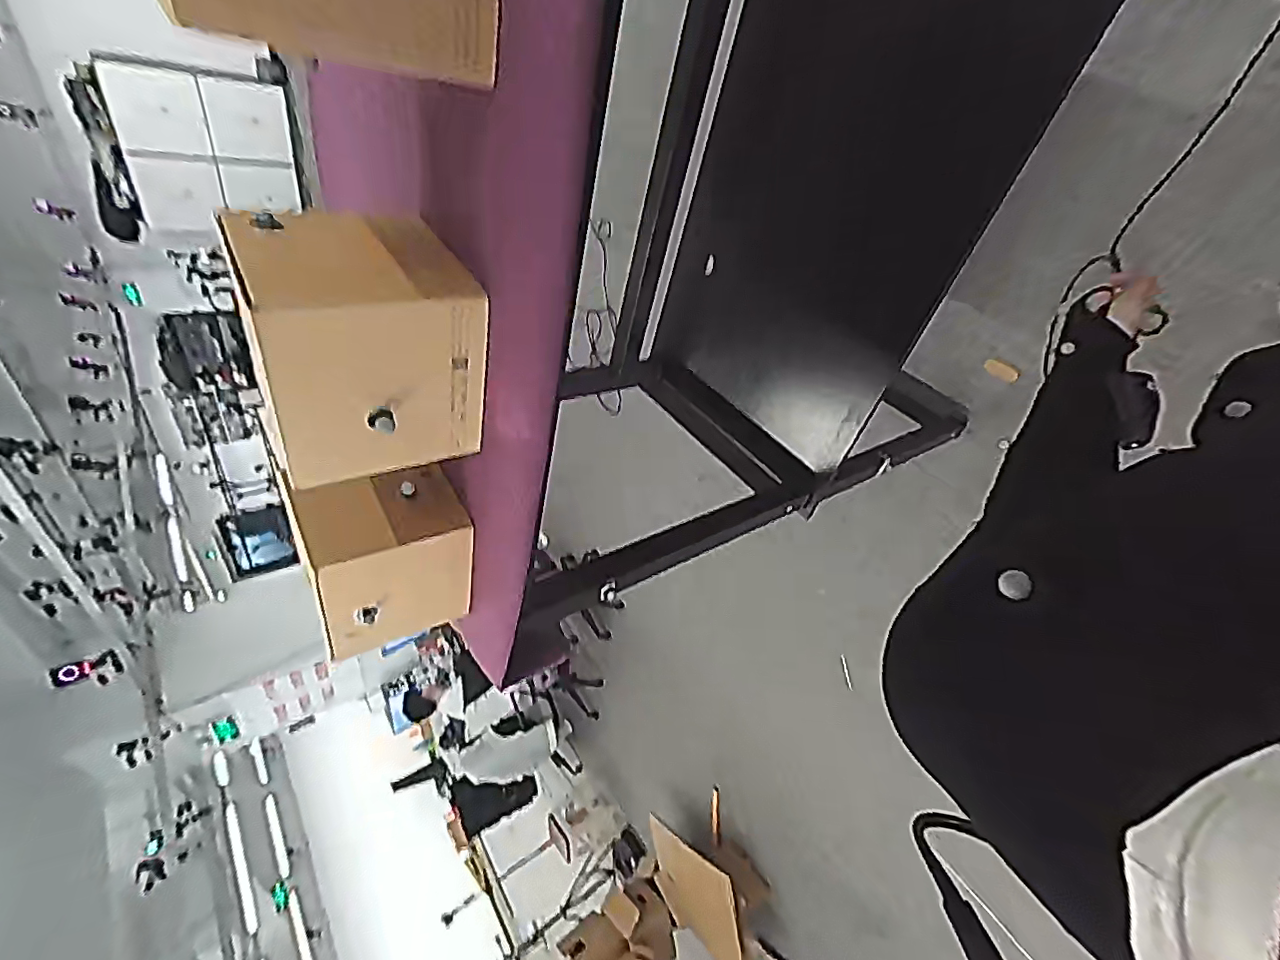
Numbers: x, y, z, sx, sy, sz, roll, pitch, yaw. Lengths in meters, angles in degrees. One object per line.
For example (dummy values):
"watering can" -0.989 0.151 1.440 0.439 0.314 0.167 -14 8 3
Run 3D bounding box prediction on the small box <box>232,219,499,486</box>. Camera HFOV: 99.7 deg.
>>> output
"small box" -0.241 -0.125 0.497 0.179 0.176 0.168 49 140 33

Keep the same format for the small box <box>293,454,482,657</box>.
"small box" -0.309 0.082 0.678 0.168 0.176 0.179 48 138 33
